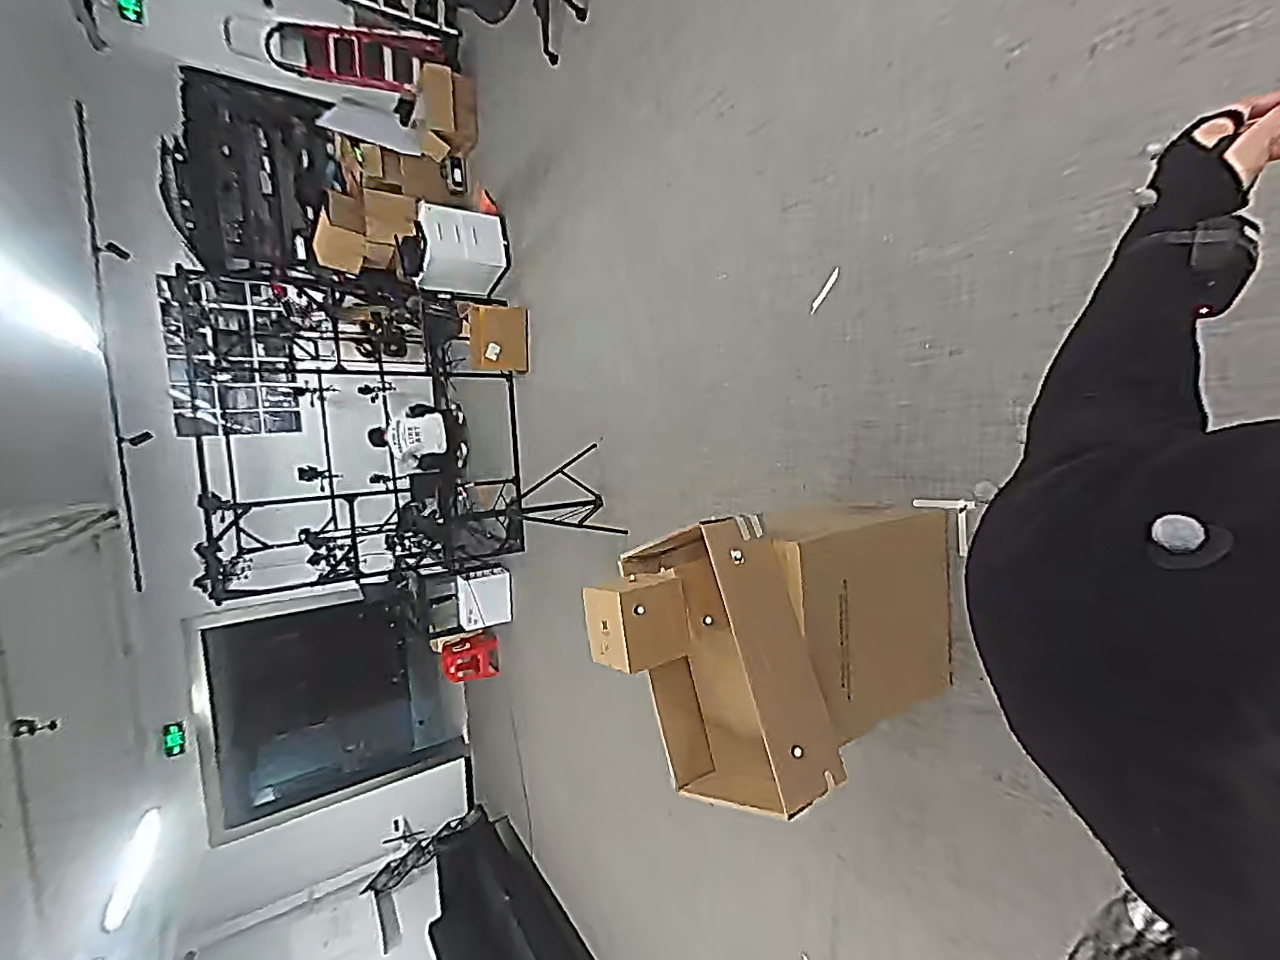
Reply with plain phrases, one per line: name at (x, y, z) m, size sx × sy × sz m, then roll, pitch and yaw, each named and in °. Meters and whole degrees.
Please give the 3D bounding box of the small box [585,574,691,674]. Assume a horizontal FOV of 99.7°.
small box at (-0.005, 0.314, 1.228) m, size 0.168 × 0.176 × 0.179 m, roll -10°, pitch 88°, yaw 56°
